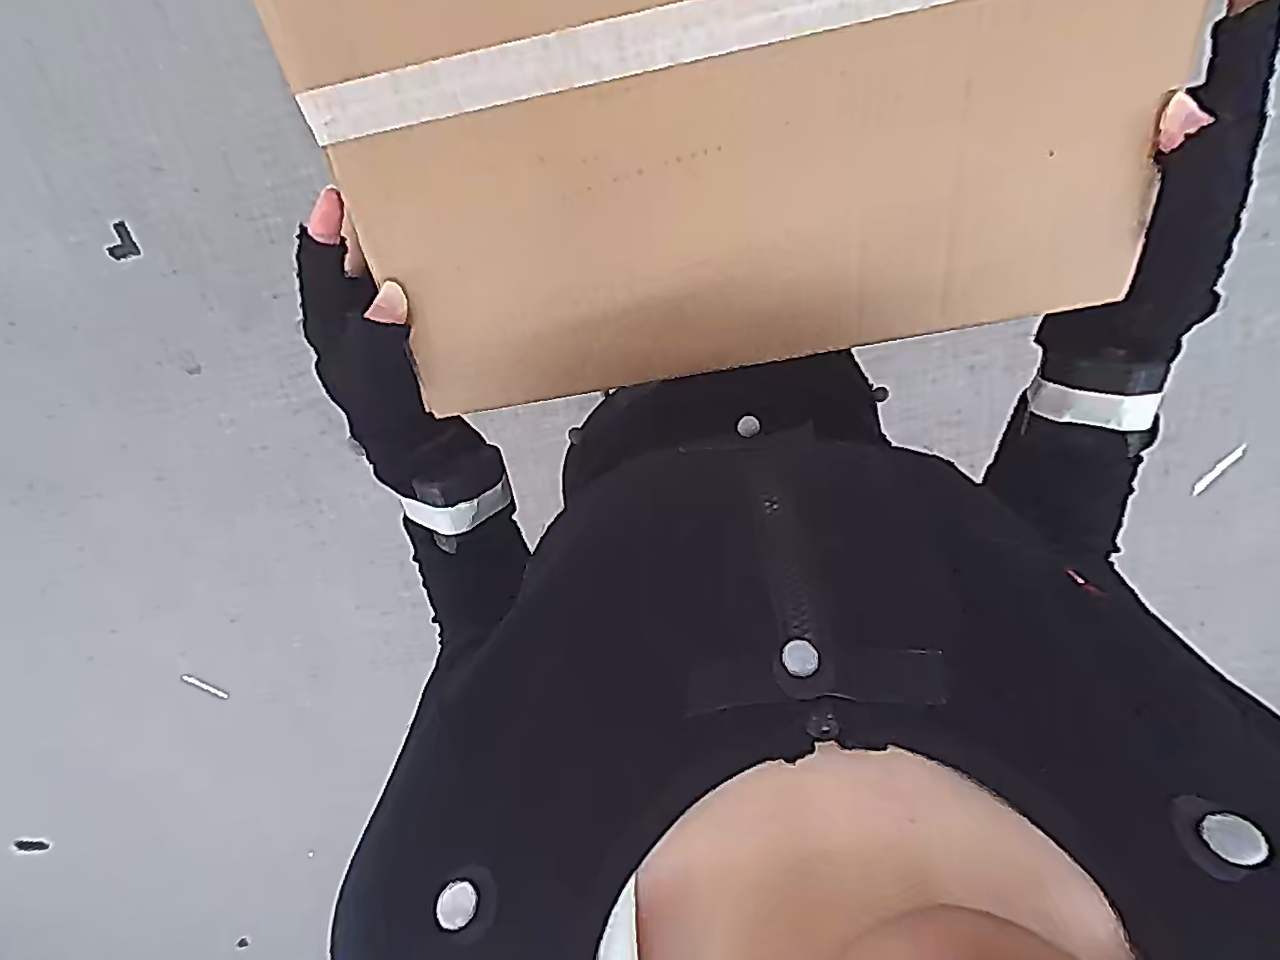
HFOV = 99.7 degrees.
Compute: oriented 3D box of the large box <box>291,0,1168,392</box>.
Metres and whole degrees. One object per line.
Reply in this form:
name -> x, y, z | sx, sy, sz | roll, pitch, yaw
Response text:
large box -> 0.039, -0.291, 0.380 | 0.408, 0.320, 0.320 | -9, 121, 4
